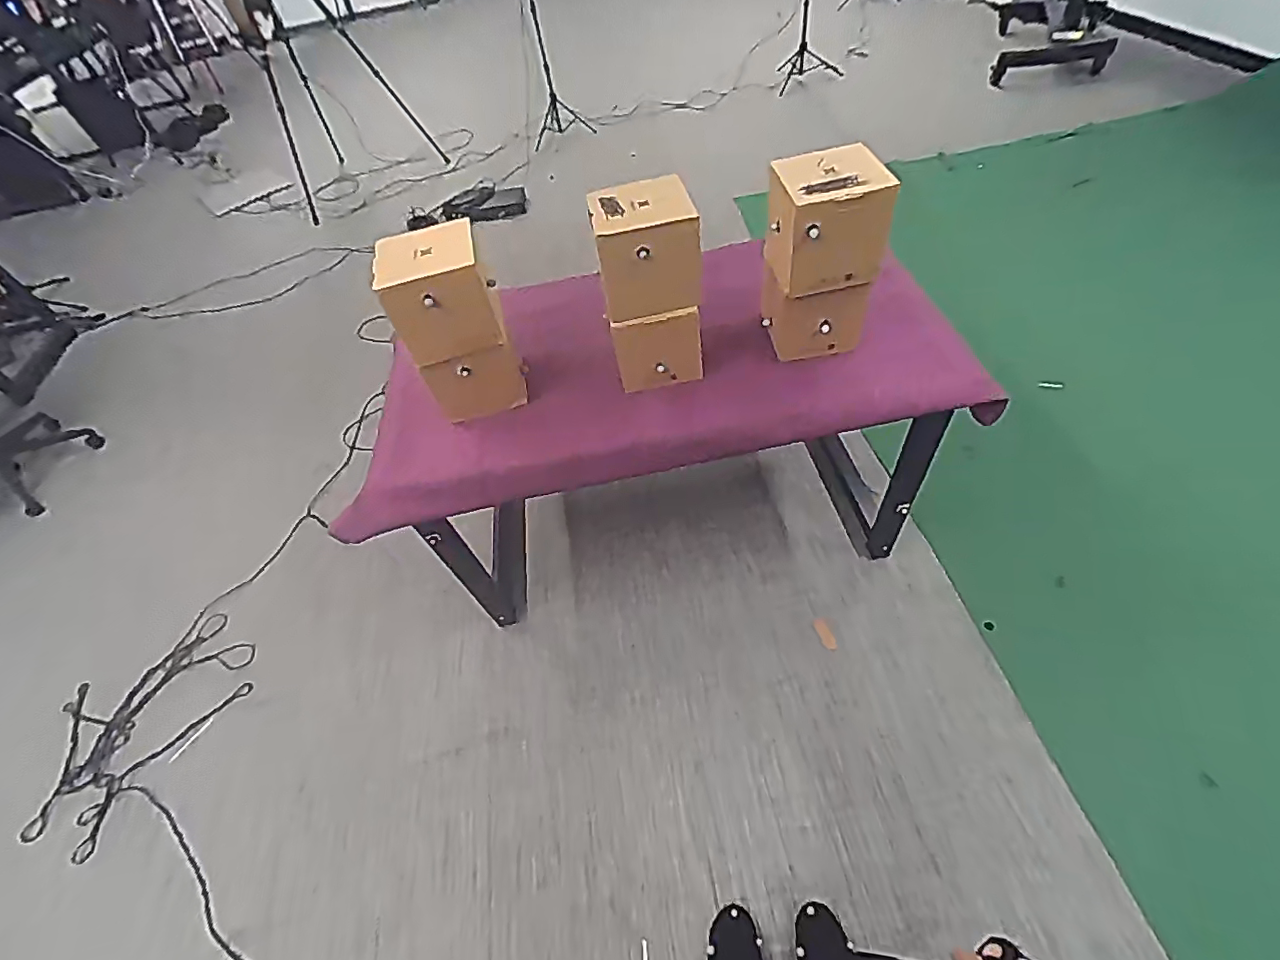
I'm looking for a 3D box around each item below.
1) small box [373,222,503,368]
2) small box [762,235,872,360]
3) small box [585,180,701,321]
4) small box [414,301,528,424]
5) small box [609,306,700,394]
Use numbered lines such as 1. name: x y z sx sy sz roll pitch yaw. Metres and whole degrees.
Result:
1. small box: -0.361 -0.335 0.992 0.179 0.176 0.168 -17 53 -3
2. small box: 0.348 -0.362 1.098 0.168 0.176 0.179 -9 52 3
3. small box: 0.007 -0.411 0.985 0.179 0.176 0.168 -12 51 -1
4. small box: -0.345 -0.240 1.122 0.179 0.176 0.168 -15 52 -2
5. small box: 0.027 -0.304 1.108 0.168 0.176 0.179 -10 52 2
